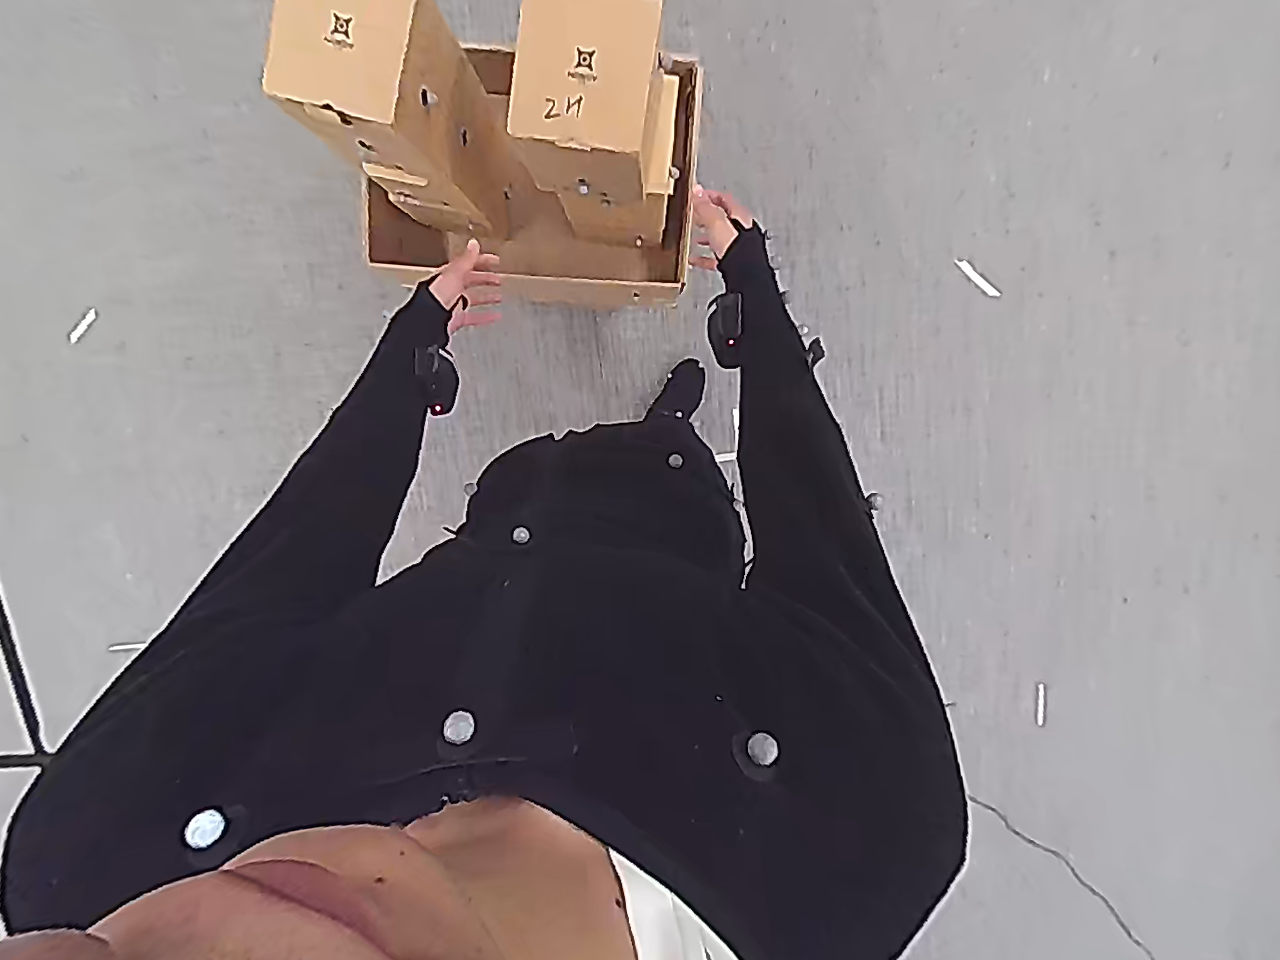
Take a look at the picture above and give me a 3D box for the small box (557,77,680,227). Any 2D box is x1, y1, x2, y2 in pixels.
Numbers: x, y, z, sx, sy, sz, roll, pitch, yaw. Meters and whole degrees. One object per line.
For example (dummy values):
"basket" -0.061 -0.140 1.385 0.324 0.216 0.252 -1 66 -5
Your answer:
"small box" -0.034 -0.527 0.880 0.179 0.176 0.168 7 98 2

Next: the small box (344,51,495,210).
"small box" -0.348 -0.568 0.882 0.168 0.176 0.179 12 98 0

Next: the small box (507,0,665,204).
"small box" -0.063 -0.499 0.719 0.168 0.176 0.179 10 99 2

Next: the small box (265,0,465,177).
"small box" -0.351 -0.539 0.720 0.168 0.176 0.179 15 99 -1
